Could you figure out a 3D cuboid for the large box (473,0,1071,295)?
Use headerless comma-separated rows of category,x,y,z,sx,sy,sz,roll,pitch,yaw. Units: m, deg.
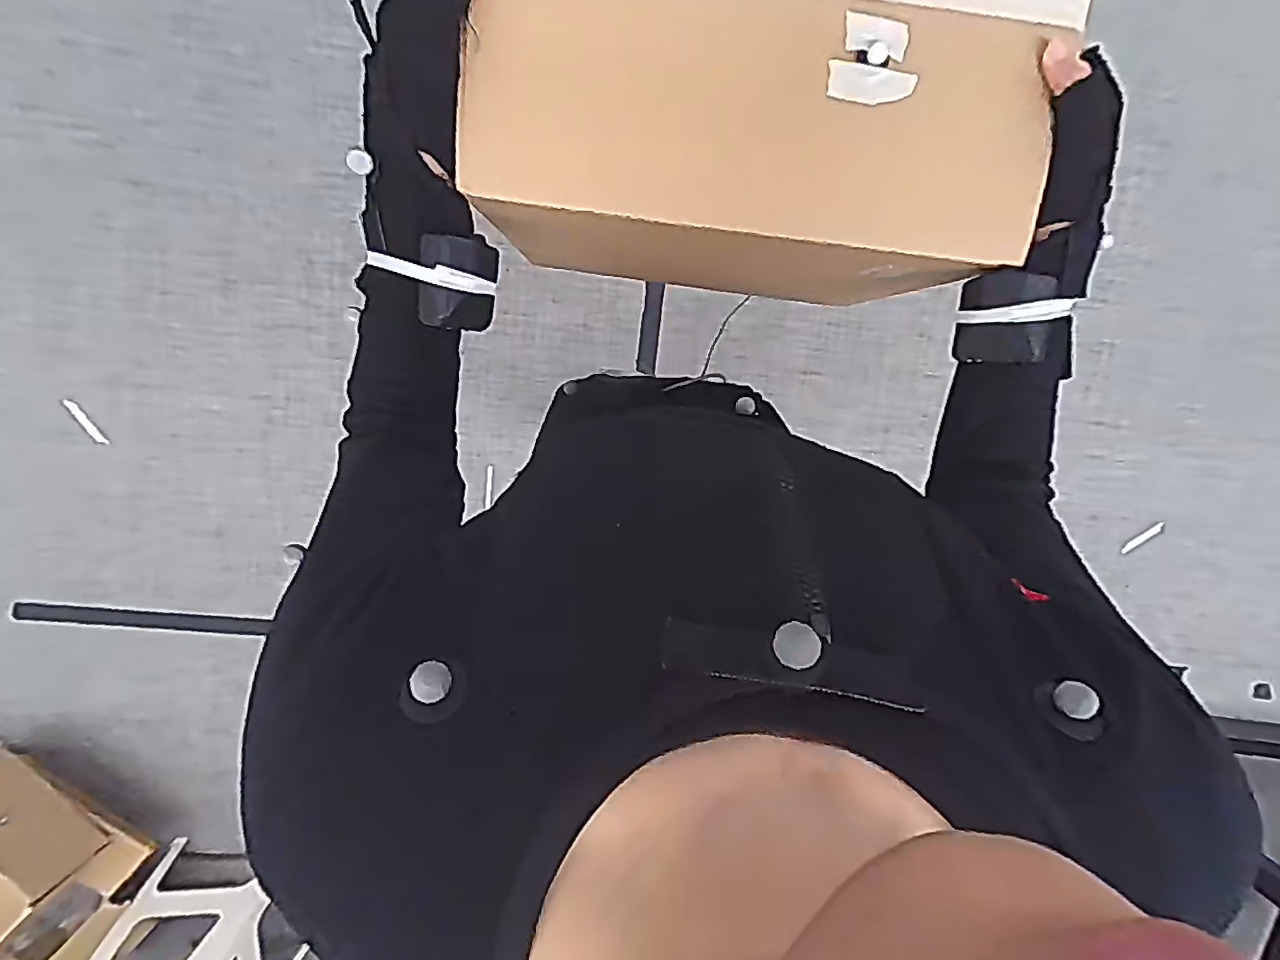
large box,0.086,-0.367,0.501,0.408,0.320,0.320,6,104,-4
